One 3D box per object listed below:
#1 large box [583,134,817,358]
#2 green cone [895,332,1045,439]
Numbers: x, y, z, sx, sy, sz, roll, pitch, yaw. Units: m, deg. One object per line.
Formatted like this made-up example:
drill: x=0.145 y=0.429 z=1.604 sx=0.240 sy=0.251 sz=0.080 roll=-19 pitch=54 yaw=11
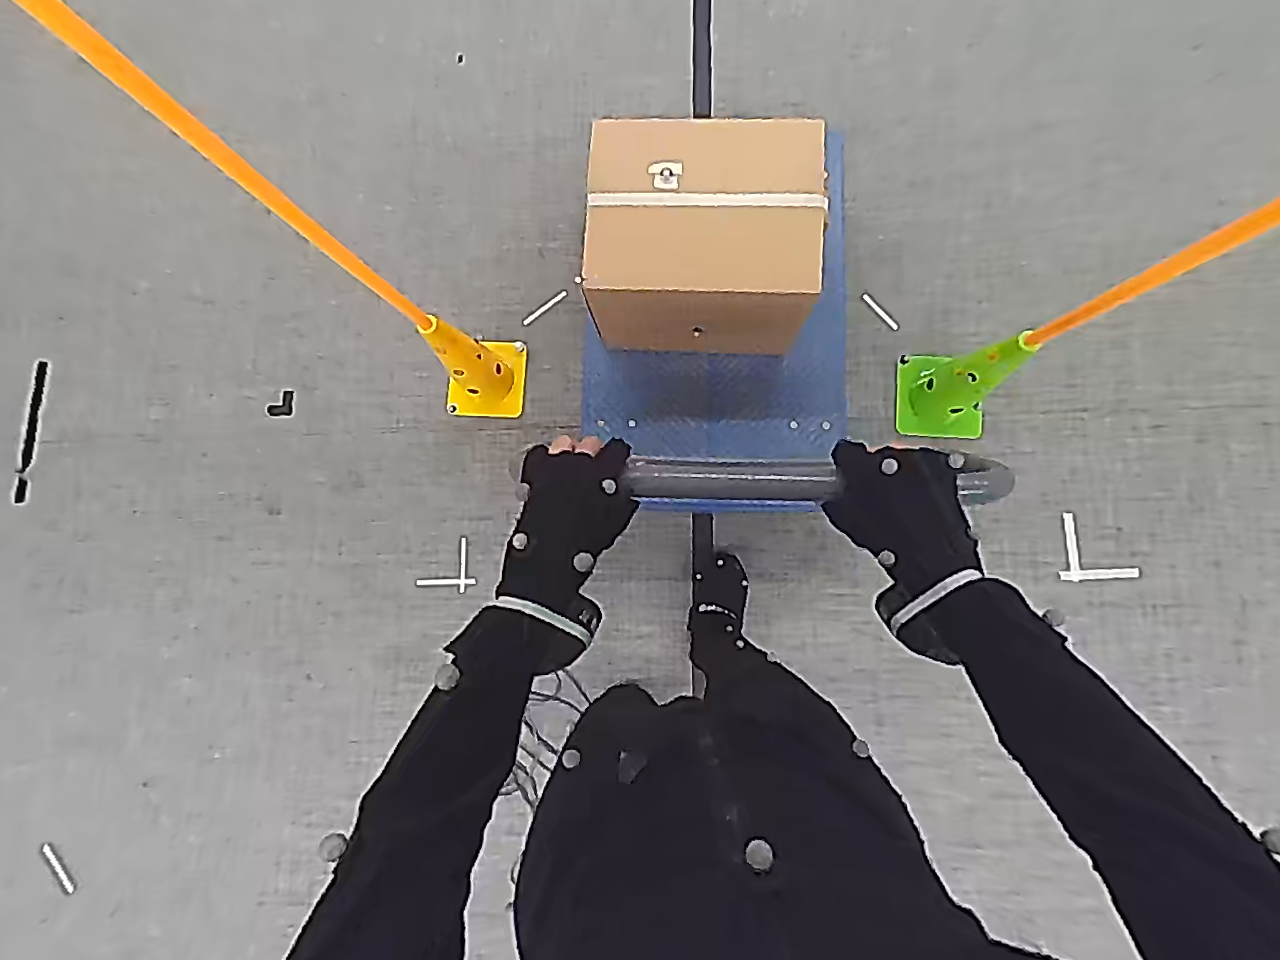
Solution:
large box: x=0.118 y=-0.438 z=1.084 sx=0.408 sy=0.320 sz=0.320 roll=3 pitch=84 yaw=5
green cone: x=0.718 y=-0.222 z=1.154 sx=0.202 sy=0.368 sz=0.200 roll=3 pitch=83 yaw=4
